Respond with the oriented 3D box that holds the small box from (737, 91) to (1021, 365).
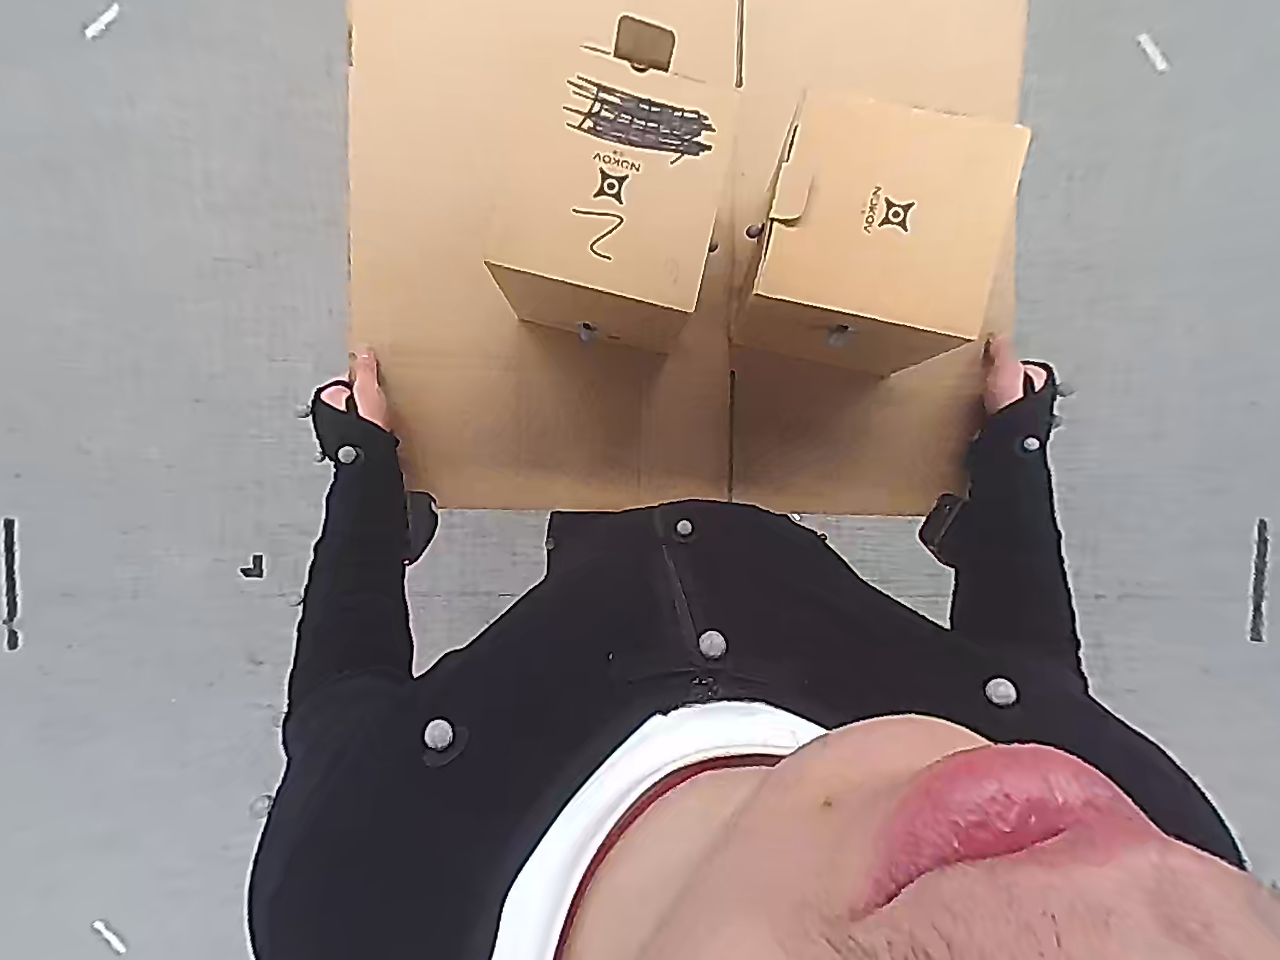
[{"bbox_3d":[0.200,-0.213,0.508,0.179,0.176,0.168,13,93,4],"label":"small box"}]
